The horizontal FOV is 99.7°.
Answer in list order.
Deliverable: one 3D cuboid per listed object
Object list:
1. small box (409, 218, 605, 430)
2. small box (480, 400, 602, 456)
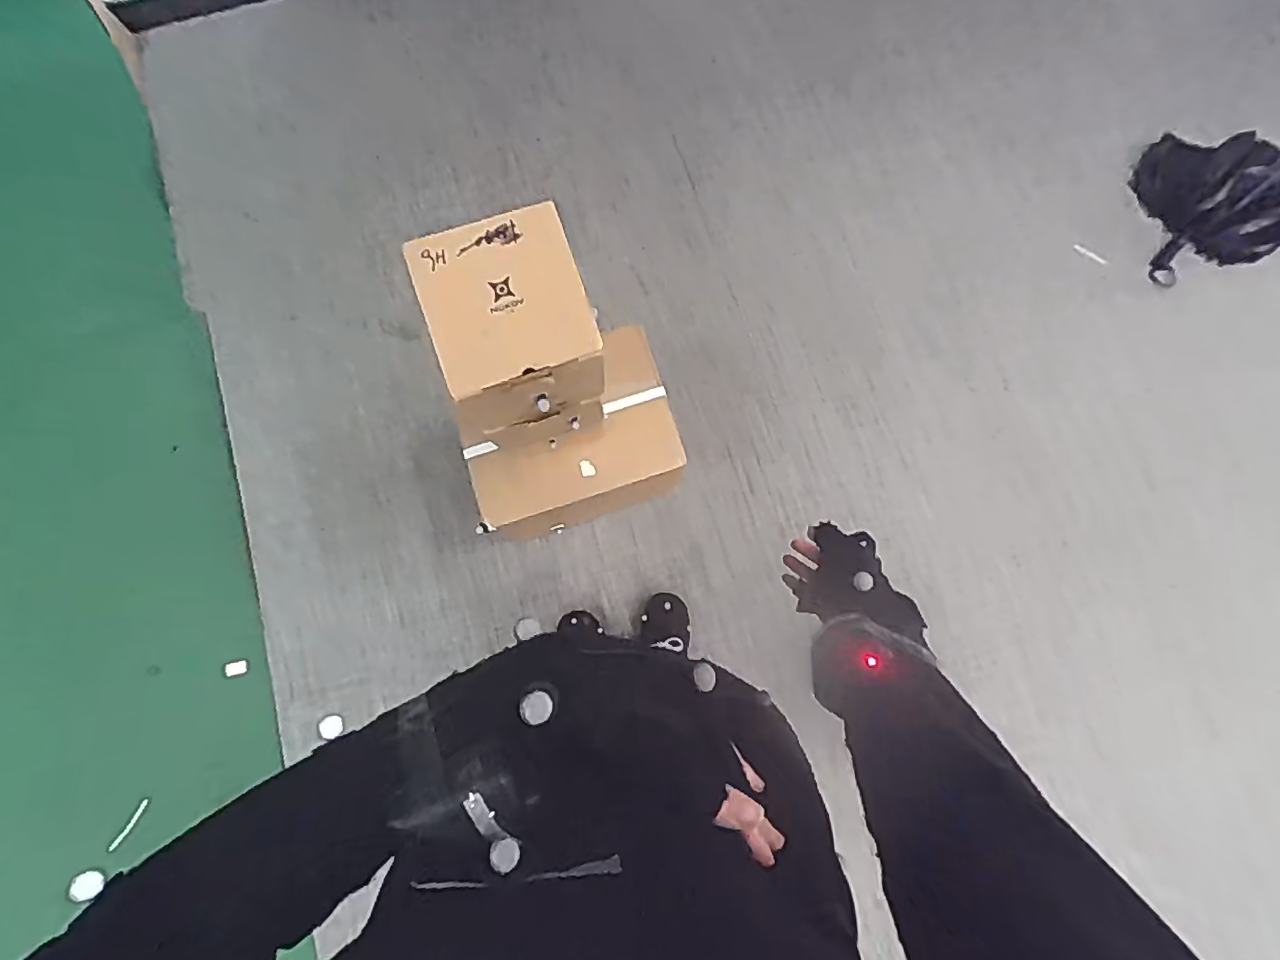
[{"bbox_3d":[-0.143,-0.168,0.646,0.168,0.176,0.179,-19,86,-5],"label":"small box"},{"bbox_3d":[-0.159,-0.144,0.807,0.168,0.176,0.179,-19,84,-6],"label":"small box"}]
